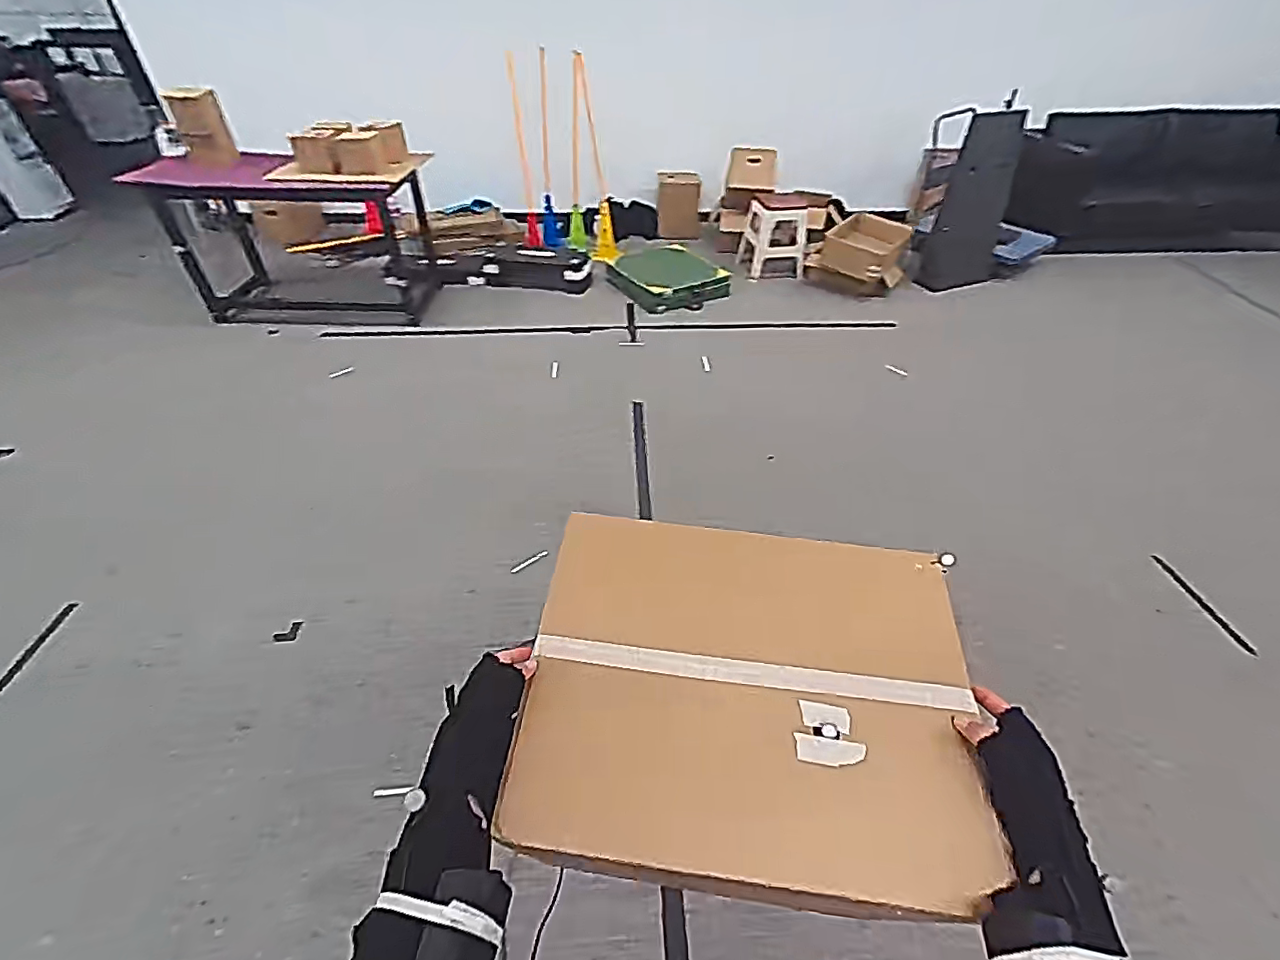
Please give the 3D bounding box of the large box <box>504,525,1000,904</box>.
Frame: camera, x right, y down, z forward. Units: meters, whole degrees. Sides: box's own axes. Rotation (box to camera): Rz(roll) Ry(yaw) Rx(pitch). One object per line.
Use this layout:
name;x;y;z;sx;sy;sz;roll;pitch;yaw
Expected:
large box;0.096;0.279;0.636;0.408;0.320;0.320;6;53;4
